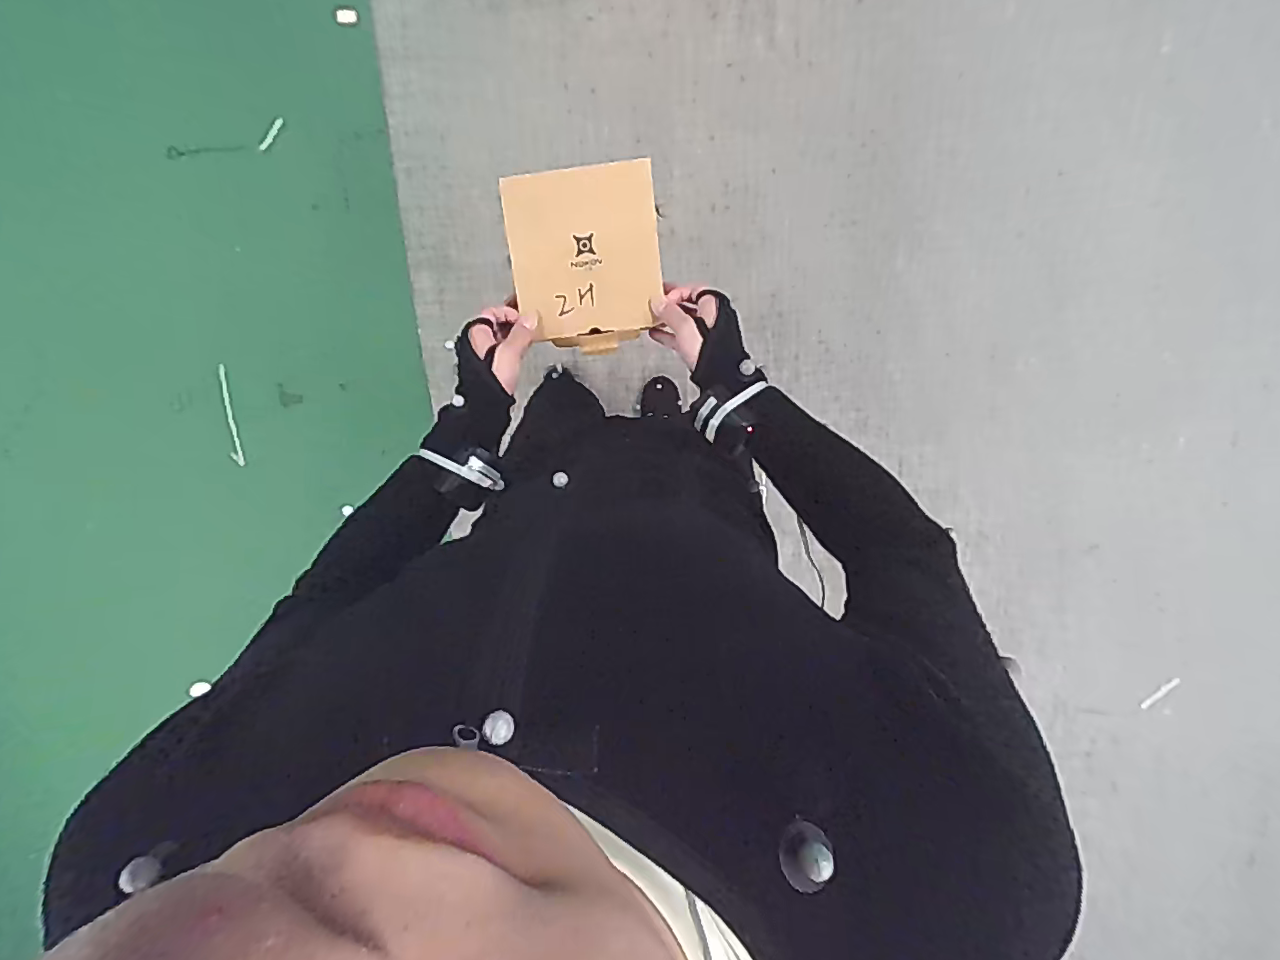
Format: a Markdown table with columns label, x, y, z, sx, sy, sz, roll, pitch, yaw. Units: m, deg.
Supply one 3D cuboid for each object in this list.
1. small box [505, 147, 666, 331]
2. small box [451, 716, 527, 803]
| label | x | y | z | sx | sy | sz | roll | pitch | yaw |
| --- | --- | --- | --- | --- | --- | --- | --- | --- | --- |
| small box | -0.057 | -0.280 | 0.665 | 0.168 | 0.176 | 0.179 | -4 | 105 | 2 |
| small box | -0.438 | 0.820 | 1.598 | 0.179 | 0.176 | 0.168 | 0 | 103 | 3 |
